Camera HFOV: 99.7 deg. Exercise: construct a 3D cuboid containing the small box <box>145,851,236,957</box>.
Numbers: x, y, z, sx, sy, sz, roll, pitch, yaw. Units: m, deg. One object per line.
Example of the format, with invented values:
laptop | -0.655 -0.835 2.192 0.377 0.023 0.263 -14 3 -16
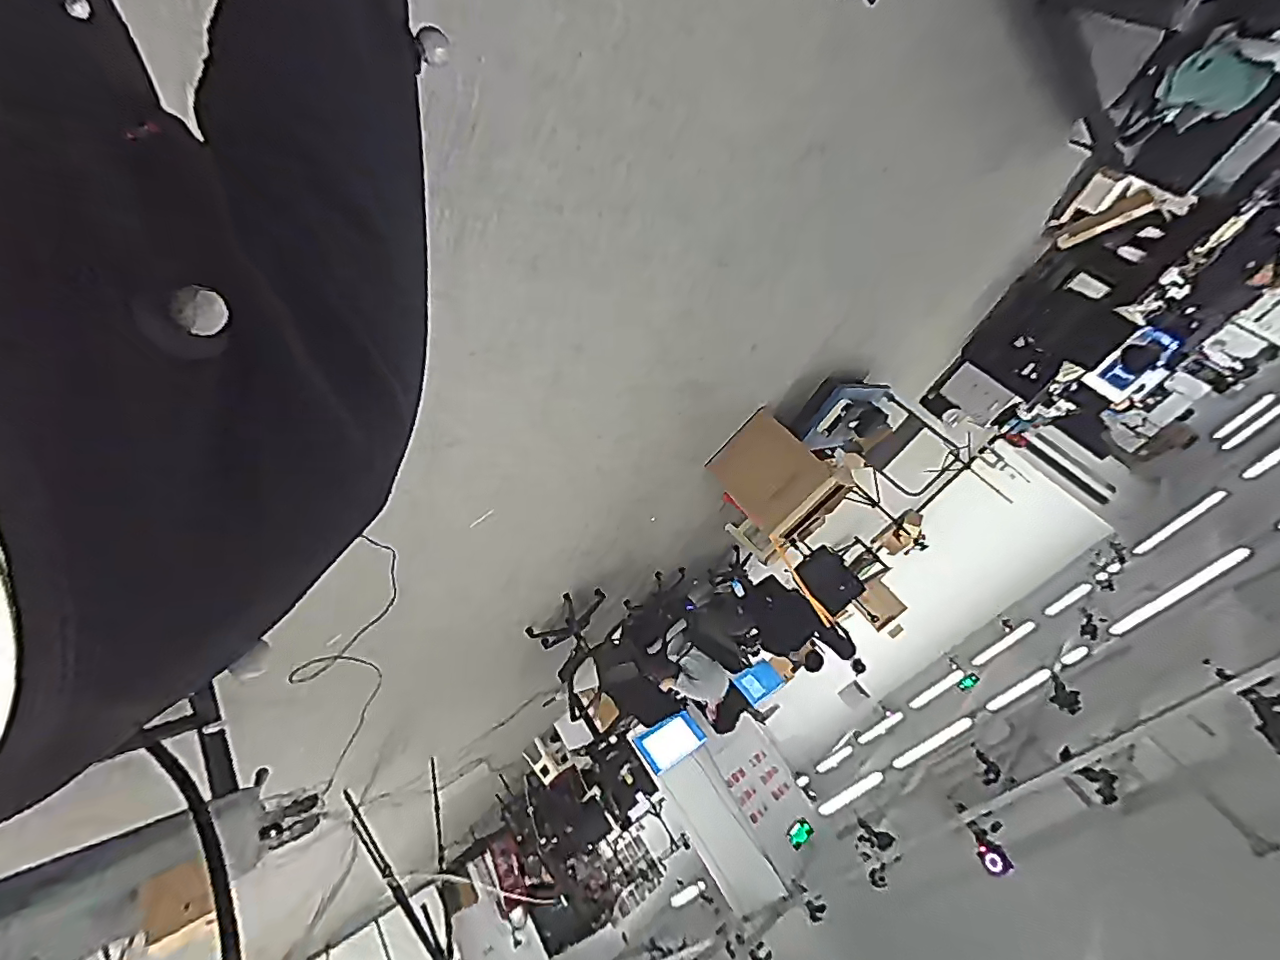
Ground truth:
small box | -1.314 1.235 1.585 0.179 0.176 0.168 -12 142 -41
